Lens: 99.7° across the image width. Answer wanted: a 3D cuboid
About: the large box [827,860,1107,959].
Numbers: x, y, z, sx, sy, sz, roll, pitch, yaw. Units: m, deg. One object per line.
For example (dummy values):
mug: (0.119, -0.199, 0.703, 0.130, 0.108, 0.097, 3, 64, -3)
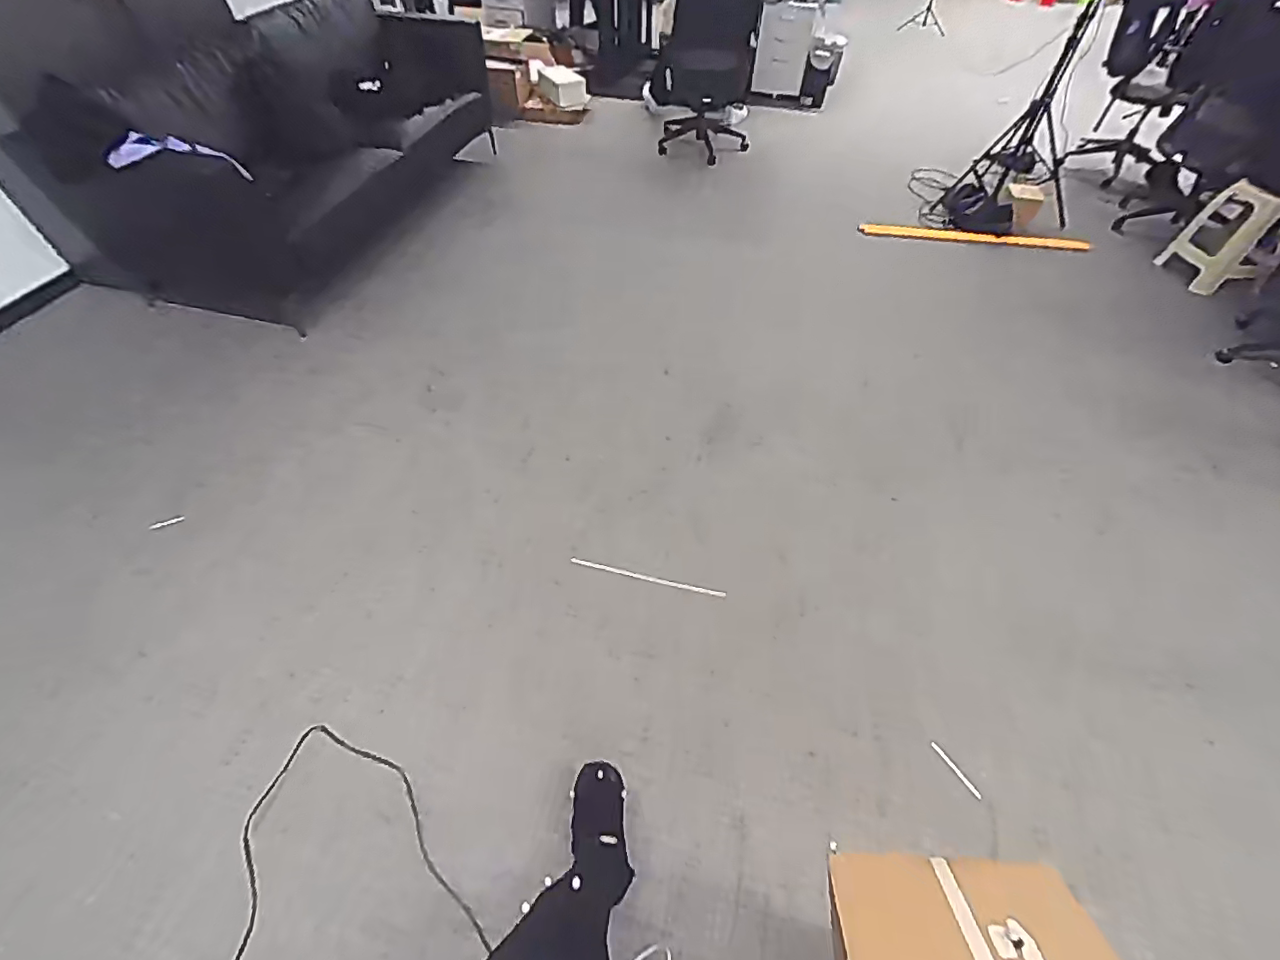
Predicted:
large box: (0.417, 0.745, 0.626, 0.320, 0.408, 0.320, -2, 94, 11)
